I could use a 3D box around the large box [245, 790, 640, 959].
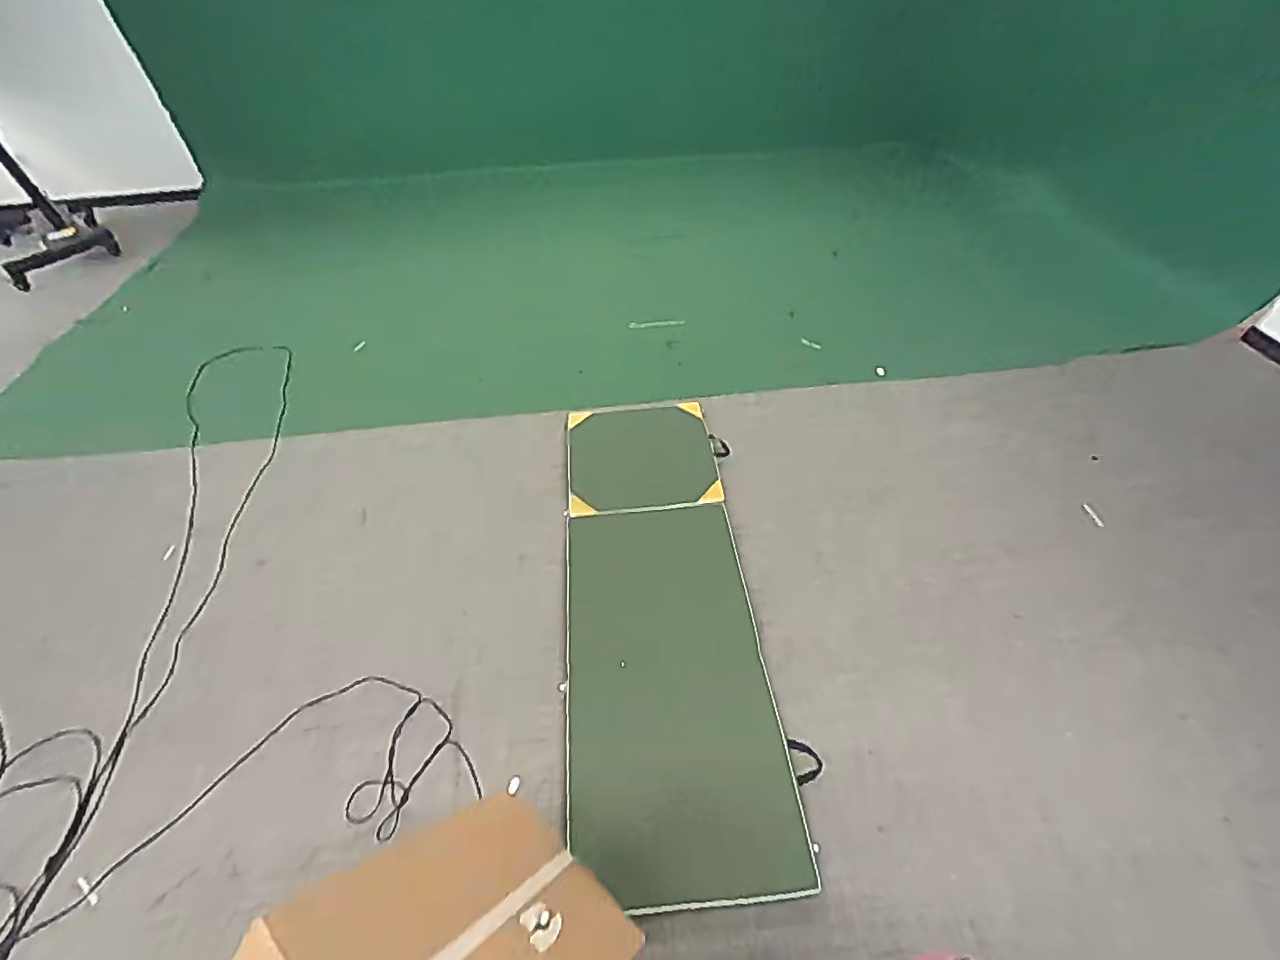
[{"bbox_3d":[-0.269,0.691,0.679,0.320,0.408,0.320,33,95,27],"label":"large box"}]
